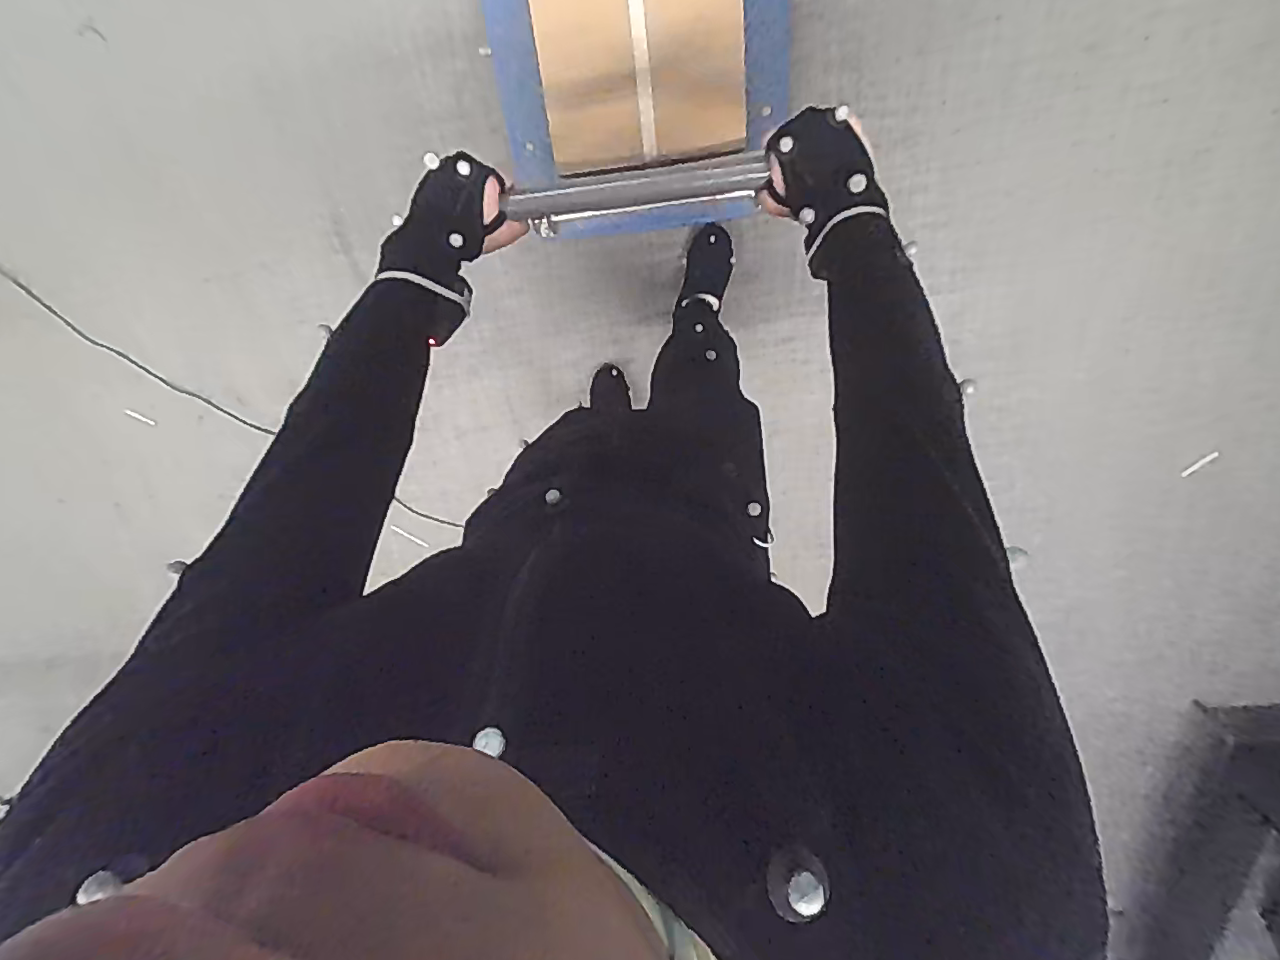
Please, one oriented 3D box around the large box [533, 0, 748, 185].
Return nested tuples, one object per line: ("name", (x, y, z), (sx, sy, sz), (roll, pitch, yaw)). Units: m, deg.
("large box", (0.007, -0.761, 0.931), (0.320, 0.320, 0.408), (-4, 115, 6))
